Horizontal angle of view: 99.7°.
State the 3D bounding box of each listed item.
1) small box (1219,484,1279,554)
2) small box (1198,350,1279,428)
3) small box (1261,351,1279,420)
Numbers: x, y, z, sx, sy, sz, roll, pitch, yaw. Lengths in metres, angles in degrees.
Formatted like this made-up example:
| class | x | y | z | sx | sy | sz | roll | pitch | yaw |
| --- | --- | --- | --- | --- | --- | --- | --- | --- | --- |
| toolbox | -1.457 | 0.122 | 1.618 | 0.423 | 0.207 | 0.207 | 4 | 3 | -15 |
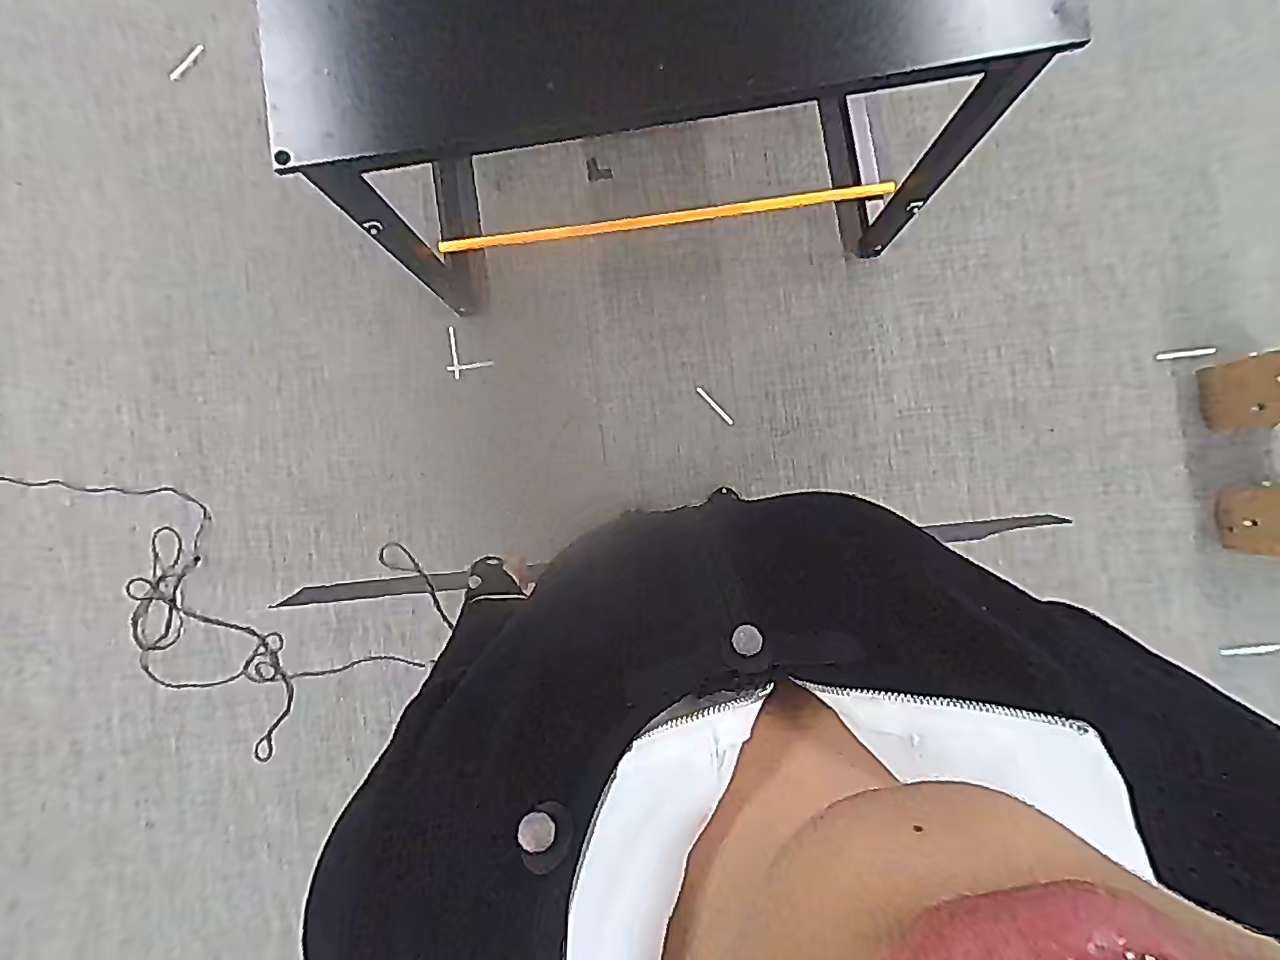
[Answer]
| class | x | y | z | sx | sy | sz | roll | pitch | yaw |
| --- | --- | --- | --- | --- | --- | --- | --- | --- | --- |
| small box | 1.623 | 0.096 | 1.360 | 0.179 | 0.176 | 0.168 | -5 | 89 | 3 |
| small box | 1.587 | -0.230 | 1.368 | 0.168 | 0.176 | 0.179 | -9 | 87 | 2 |
| small box | 1.575 | -0.237 | 1.206 | 0.179 | 0.176 | 0.168 | -8 | 86 | 3 |
